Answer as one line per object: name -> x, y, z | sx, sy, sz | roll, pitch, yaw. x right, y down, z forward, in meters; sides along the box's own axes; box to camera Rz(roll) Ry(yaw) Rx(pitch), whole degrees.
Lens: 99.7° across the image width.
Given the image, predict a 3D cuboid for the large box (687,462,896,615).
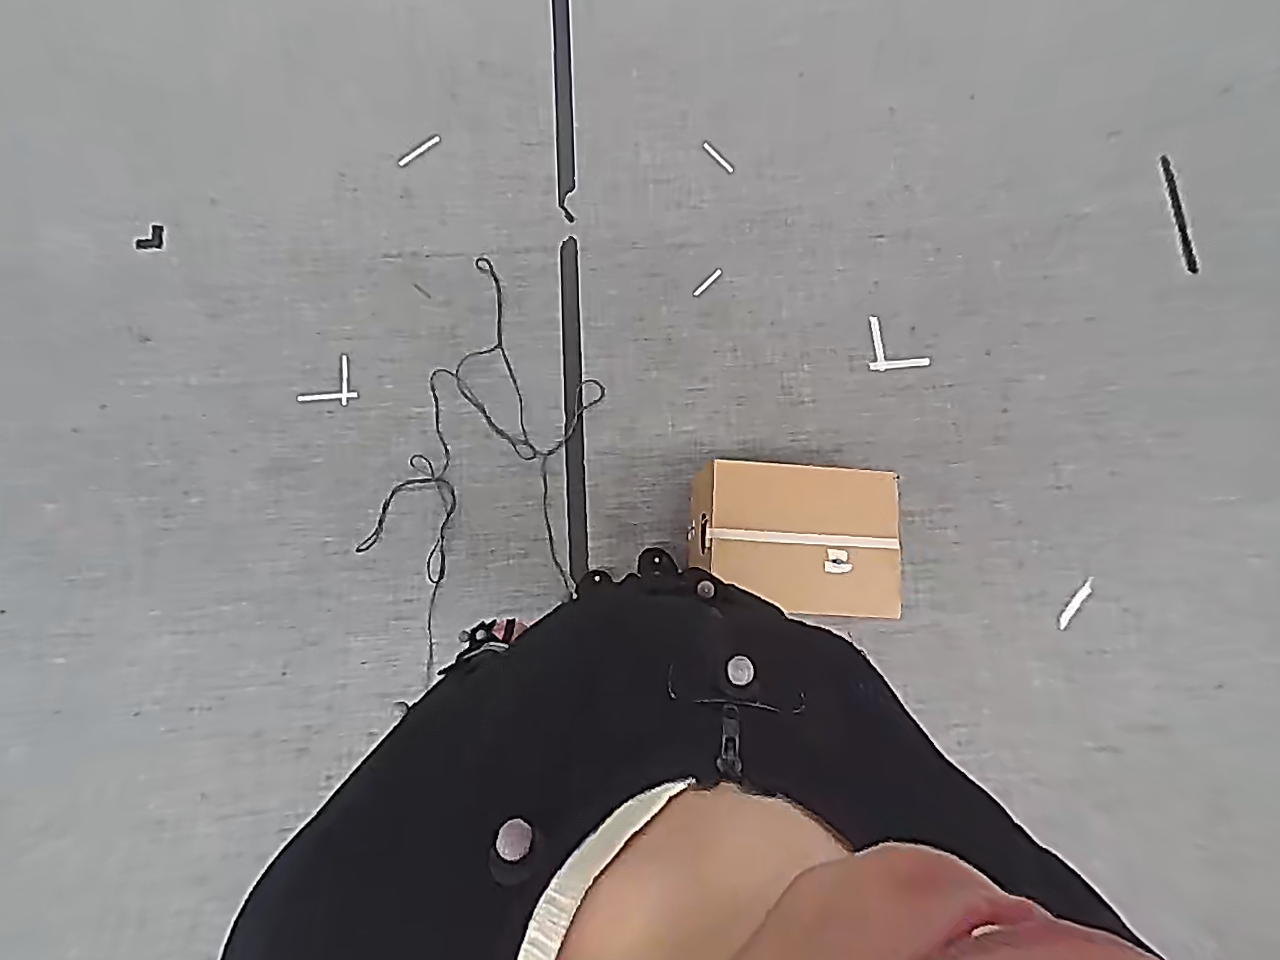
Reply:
large box -> 0.331, 0.146, 1.285 | 0.408, 0.320, 0.320 | 3, 81, -4
